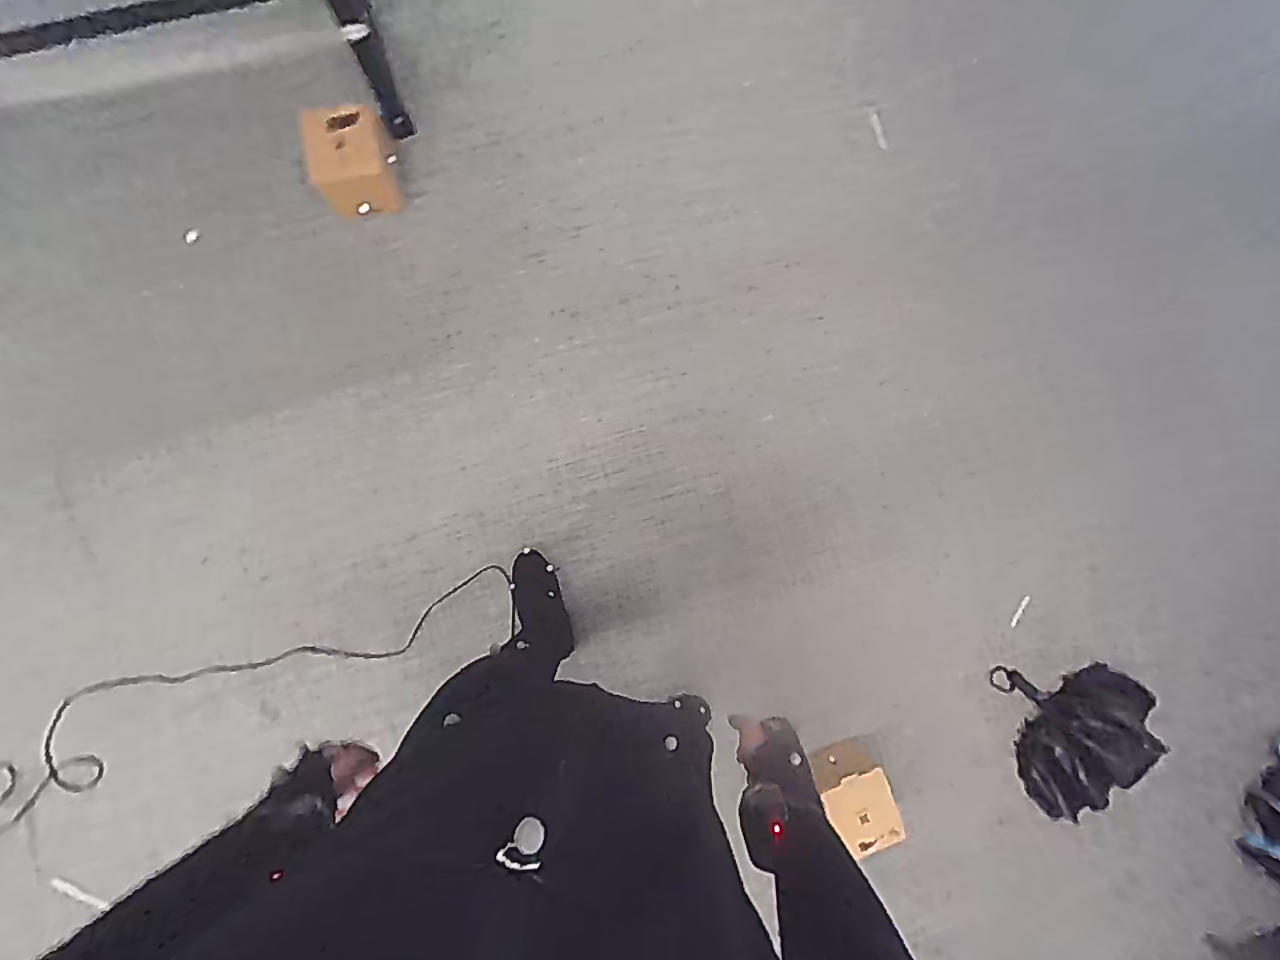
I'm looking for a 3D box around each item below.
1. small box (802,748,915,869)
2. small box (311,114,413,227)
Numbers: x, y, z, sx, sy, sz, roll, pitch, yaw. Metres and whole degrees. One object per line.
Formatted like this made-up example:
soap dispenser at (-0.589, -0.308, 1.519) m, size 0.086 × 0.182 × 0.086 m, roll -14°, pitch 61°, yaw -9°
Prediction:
small box at (0.517, 0.779, 1.309) m, size 0.168 × 0.176 × 0.179 m, roll -20°, pitch 86°, yaw -5°
small box at (-0.692, -0.774, 1.363) m, size 0.168 × 0.176 × 0.179 m, roll -11°, pitch 87°, yaw -4°
